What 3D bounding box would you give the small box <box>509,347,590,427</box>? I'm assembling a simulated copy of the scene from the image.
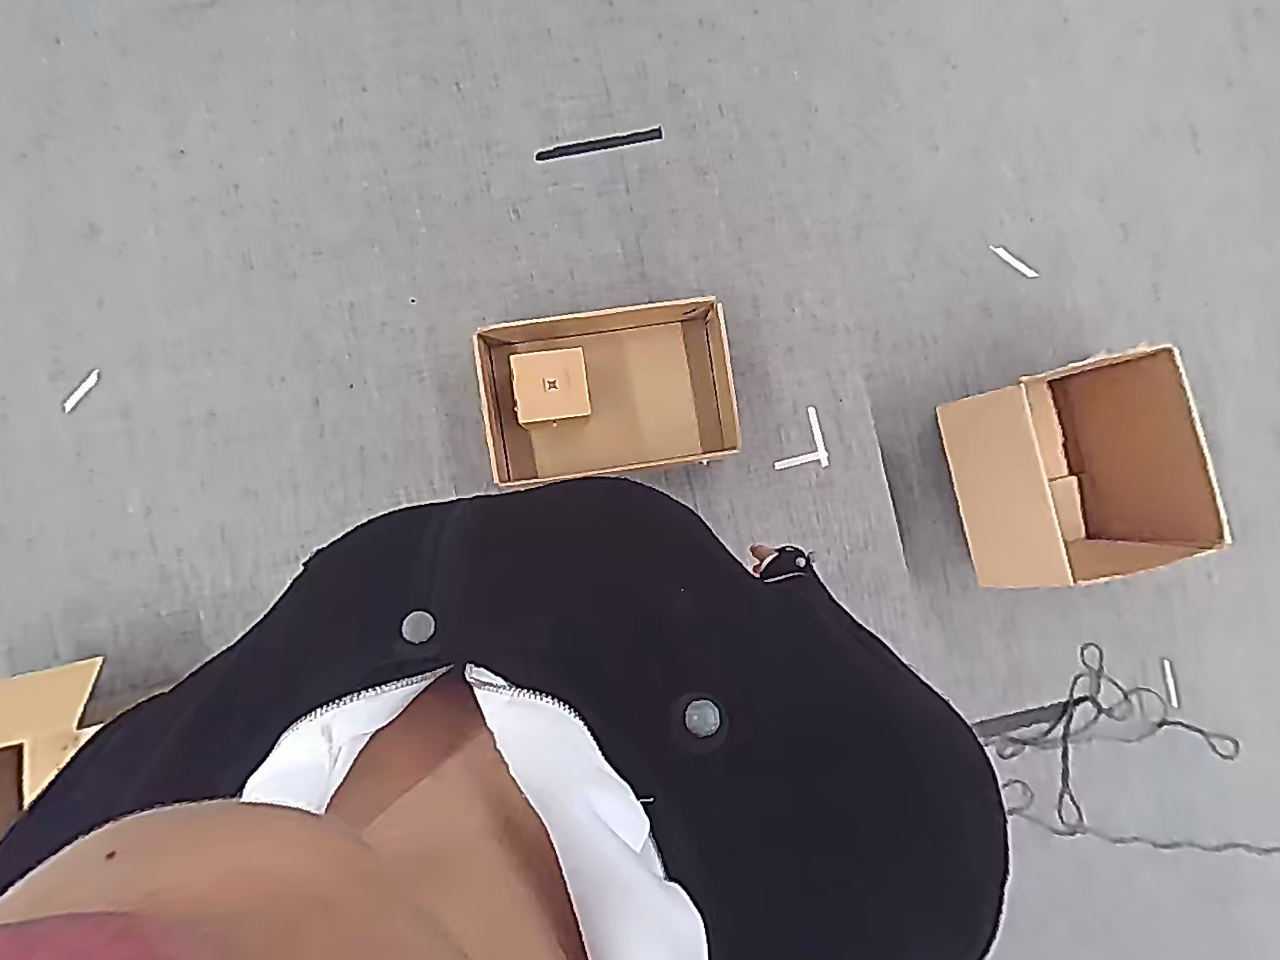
[{"bbox_3d":[-0.224,-0.231,1.377,0.179,0.176,0.168,-8,92,-6],"label":"small box"}]
